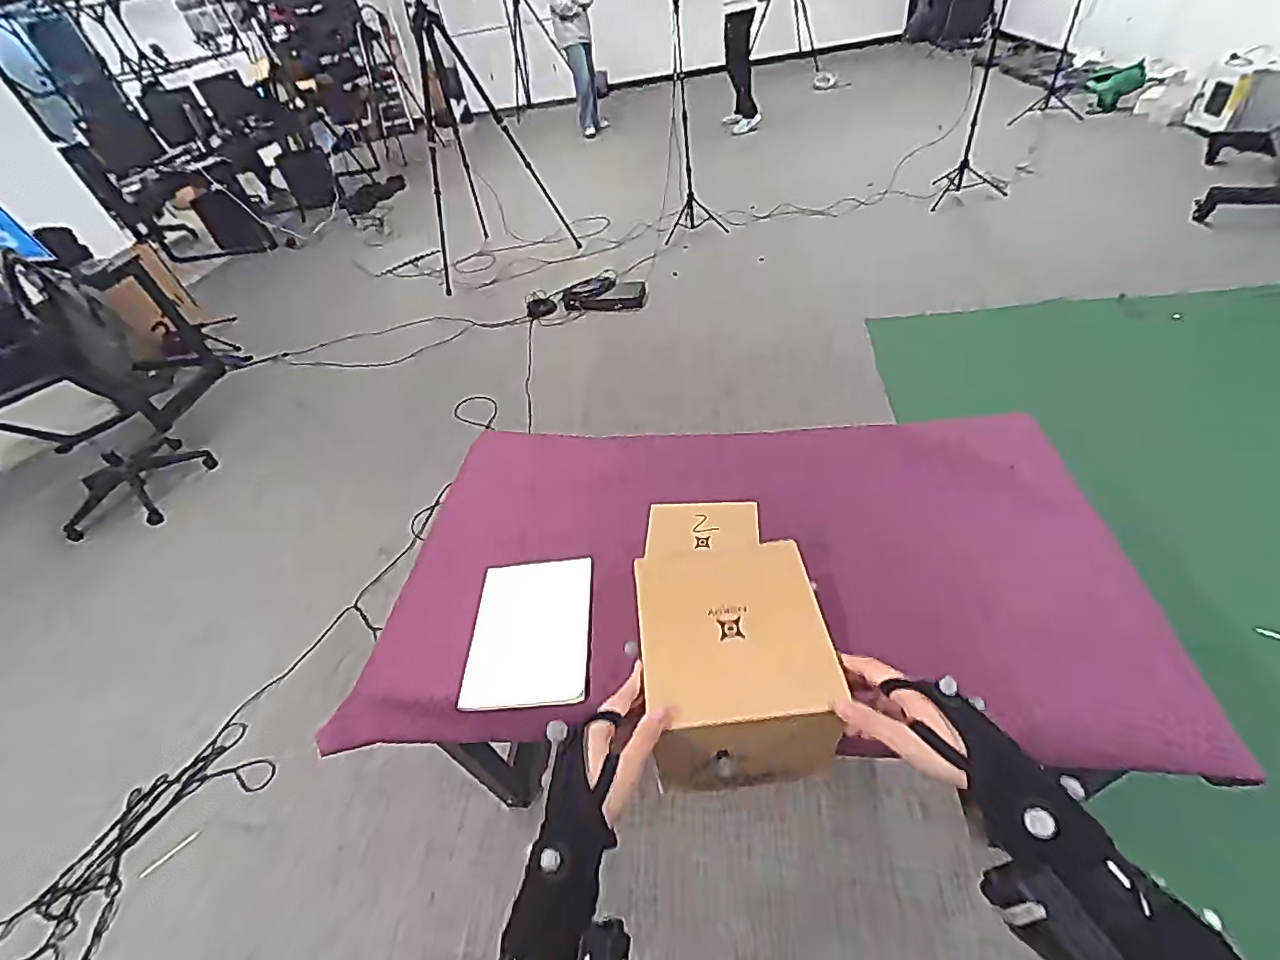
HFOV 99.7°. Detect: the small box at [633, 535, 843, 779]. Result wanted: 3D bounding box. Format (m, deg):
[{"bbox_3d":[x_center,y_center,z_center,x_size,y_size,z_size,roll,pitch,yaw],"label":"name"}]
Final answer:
[{"bbox_3d":[0.087,0.182,0.545,0.168,0.176,0.179,-7,43,1],"label":"small box"}]
